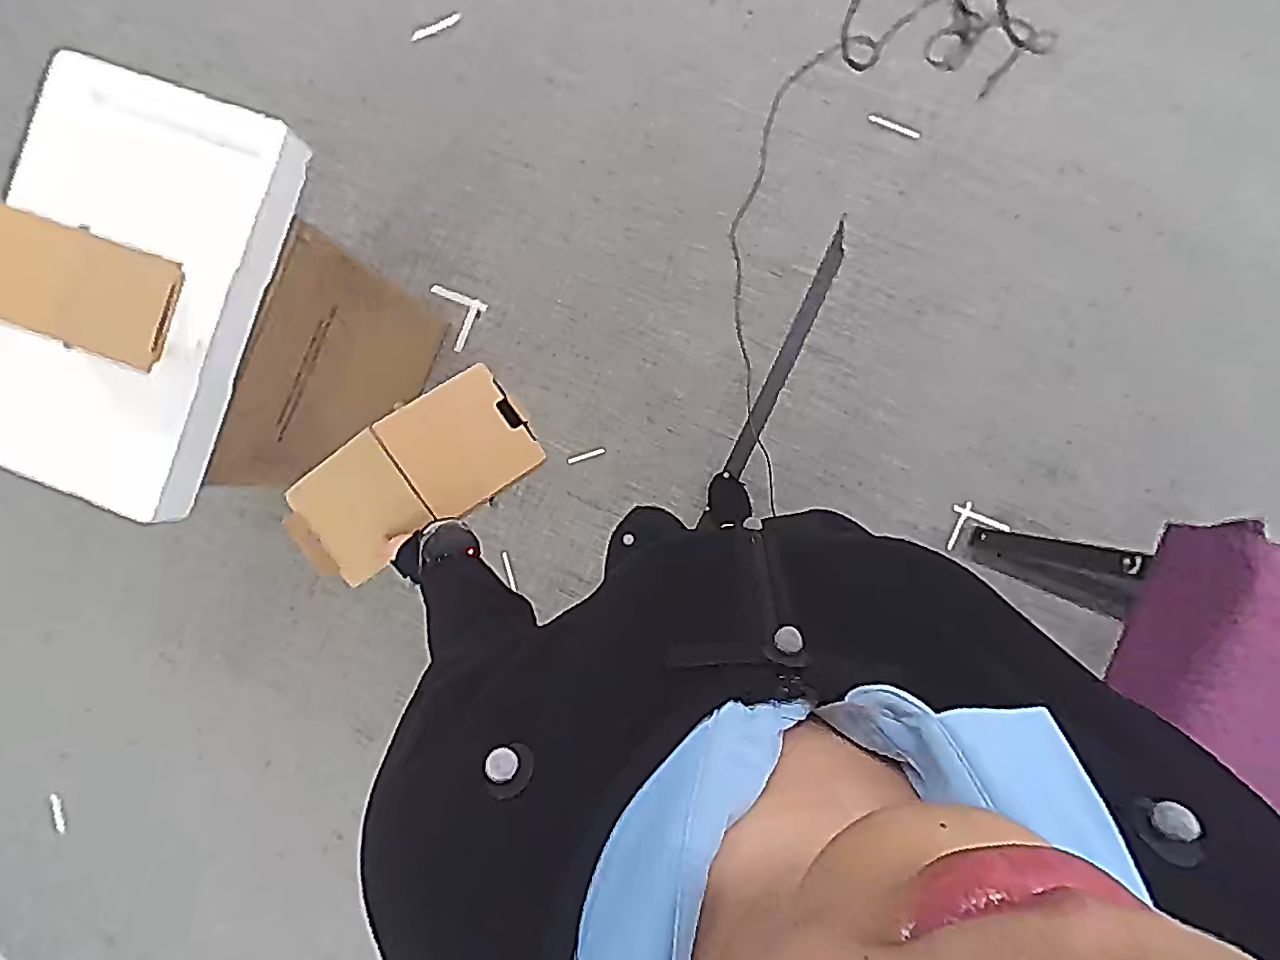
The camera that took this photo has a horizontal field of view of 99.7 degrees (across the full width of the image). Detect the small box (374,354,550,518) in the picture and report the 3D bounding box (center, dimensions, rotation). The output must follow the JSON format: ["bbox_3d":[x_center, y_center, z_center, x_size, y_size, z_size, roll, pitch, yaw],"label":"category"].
[{"bbox_3d":[-0.254,-0.056,0.803,0.179,0.176,0.168,-33,96,-14],"label":"small box"}]
